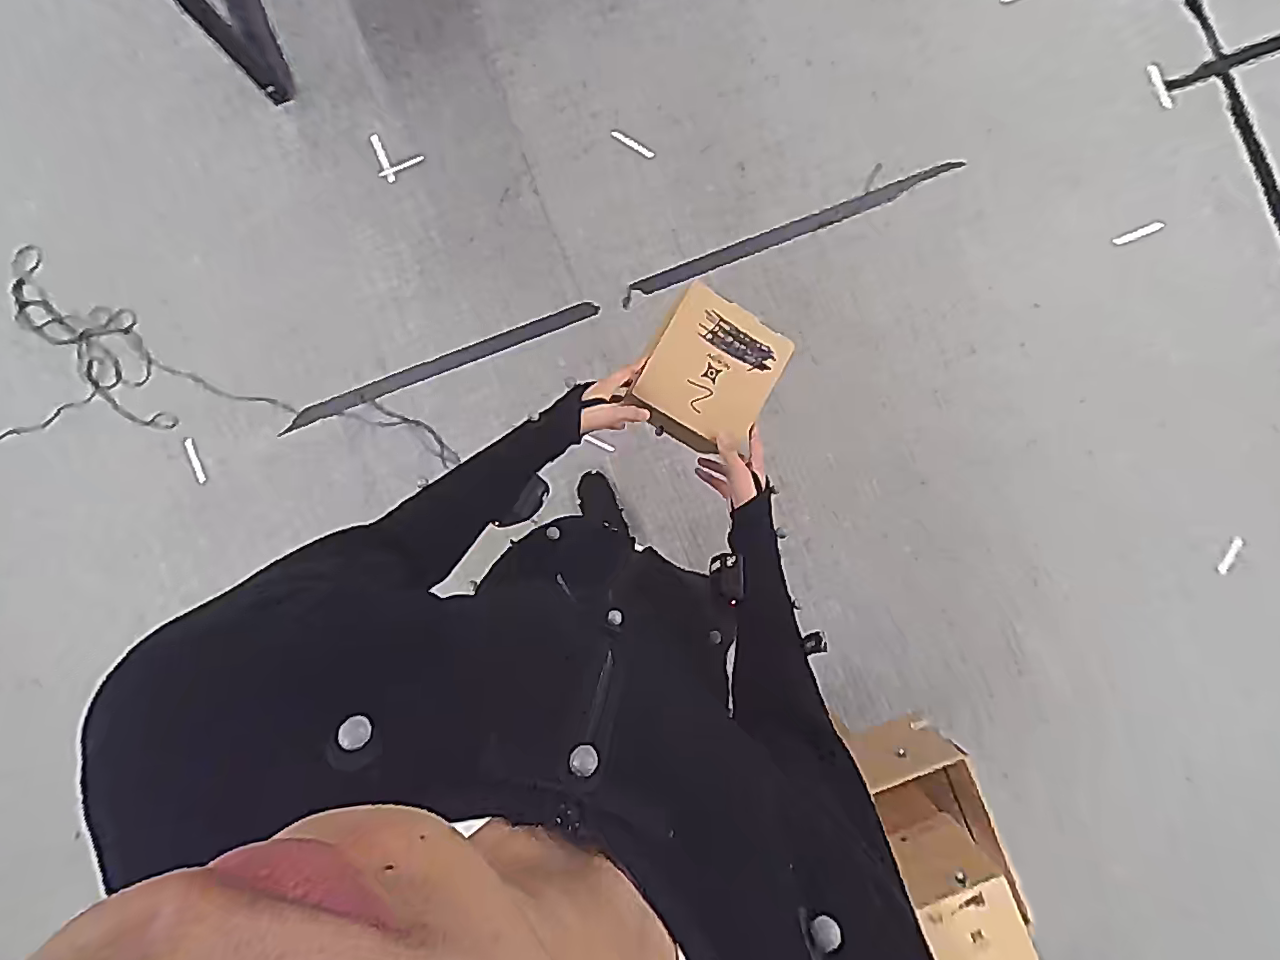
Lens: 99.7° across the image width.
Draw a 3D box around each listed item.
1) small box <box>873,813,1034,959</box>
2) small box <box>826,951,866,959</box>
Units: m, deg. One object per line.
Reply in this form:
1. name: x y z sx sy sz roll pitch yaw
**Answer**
1. small box: 0.561 0.761 0.987 0.168 0.176 0.179 -22 92 0
2. small box: 0.326 0.877 0.820 0.168 0.176 0.179 -28 91 0
